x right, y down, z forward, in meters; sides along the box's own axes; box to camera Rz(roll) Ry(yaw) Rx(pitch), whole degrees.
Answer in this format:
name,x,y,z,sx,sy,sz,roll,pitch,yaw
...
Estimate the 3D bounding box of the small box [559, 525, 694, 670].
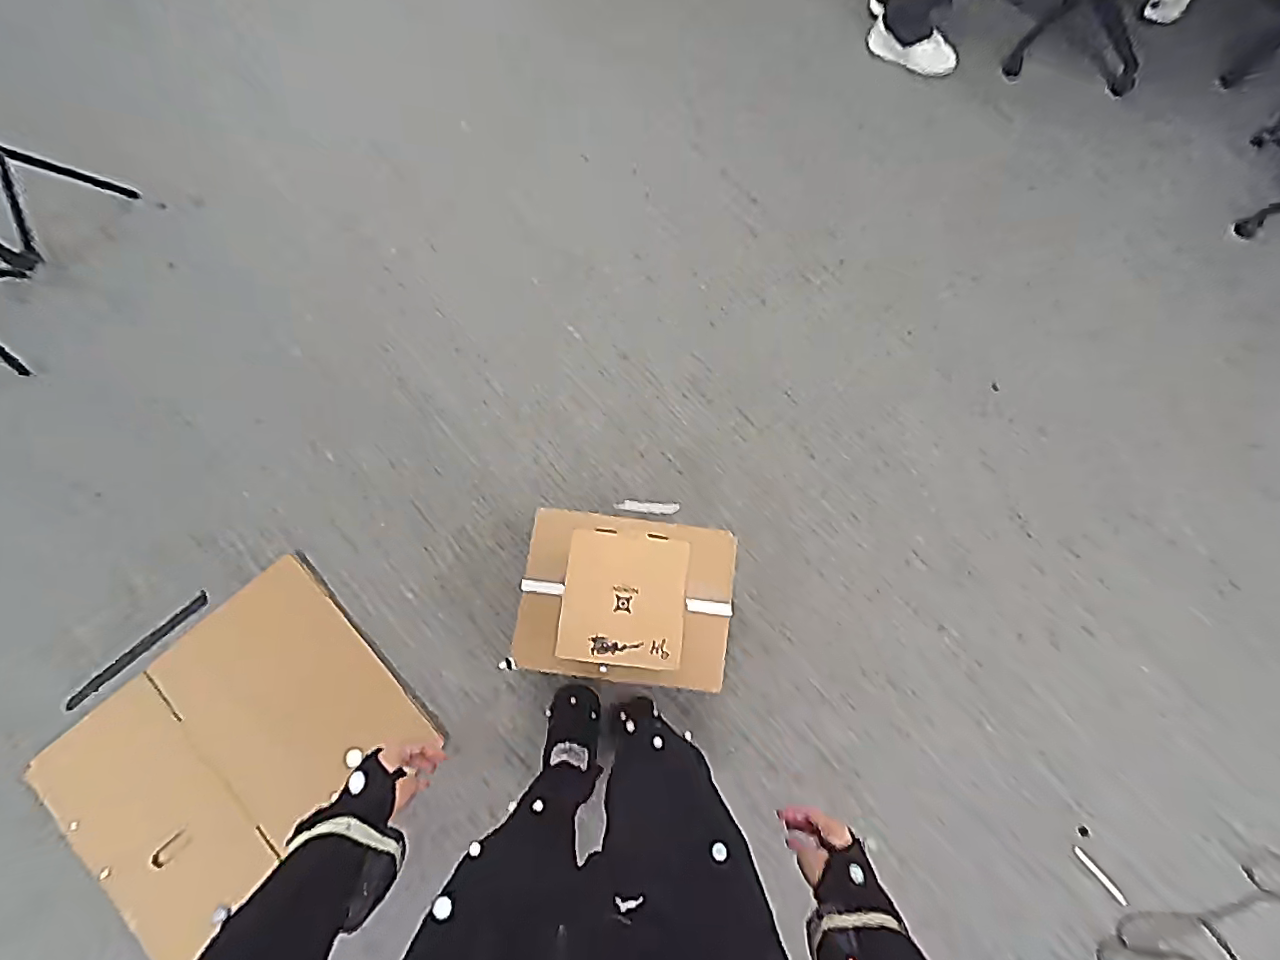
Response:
name,x,y,z,sx,sy,sz,roll,pitch,yaw
small box,-0.018,0.175,0.799,0.168,0.176,0.179,6,75,0
